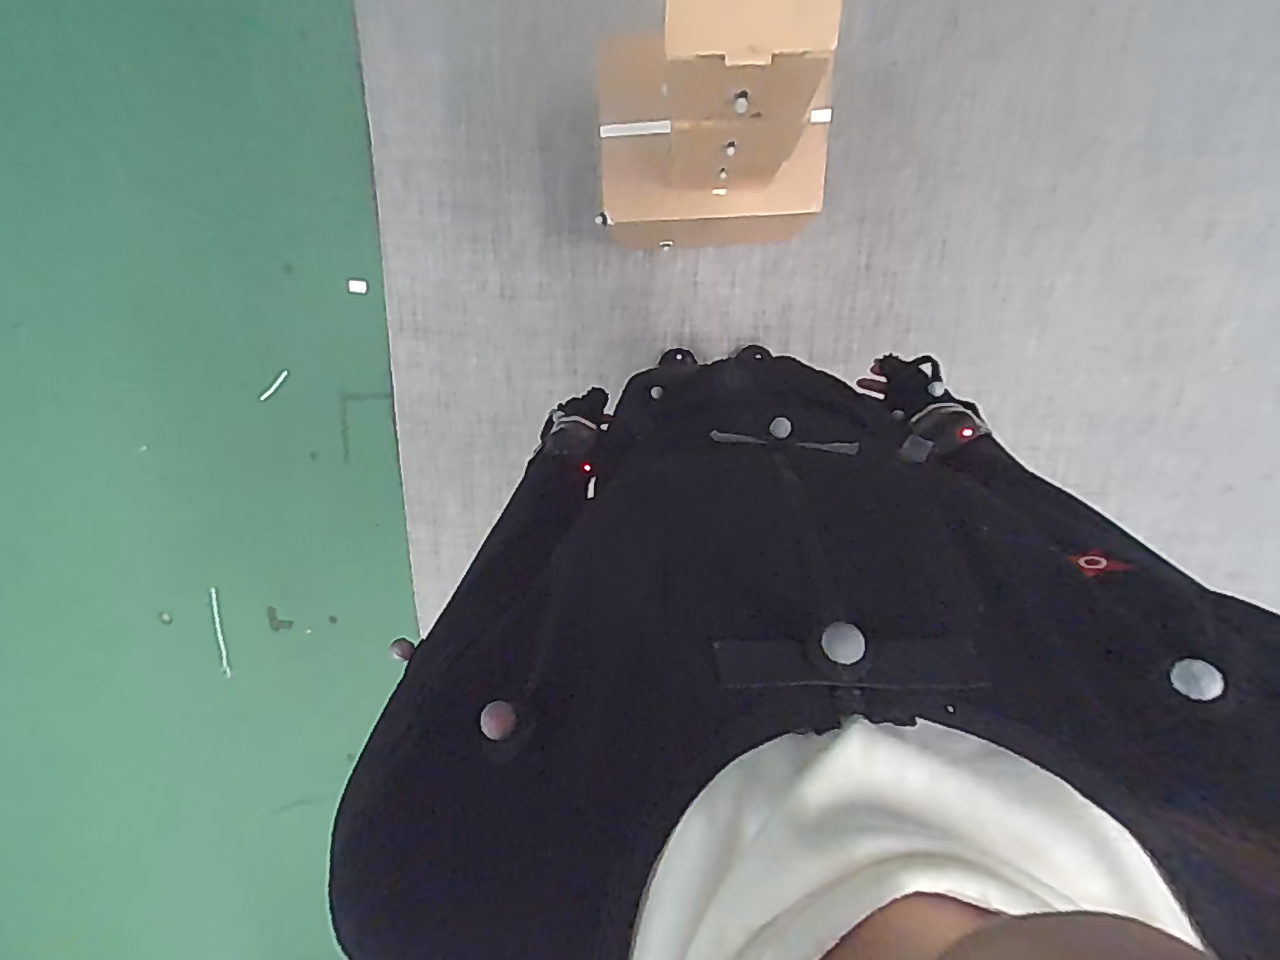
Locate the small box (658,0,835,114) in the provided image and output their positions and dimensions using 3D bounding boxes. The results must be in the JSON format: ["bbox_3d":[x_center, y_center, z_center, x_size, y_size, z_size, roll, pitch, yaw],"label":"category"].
[{"bbox_3d":[0.113,-0.512,0.573,0.168,0.176,0.179,4,107,6],"label":"small box"}]

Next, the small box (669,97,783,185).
[{"bbox_3d":[0.140,-0.596,0.888,0.179,0.176,0.168,1,106,4],"label":"small box"}]

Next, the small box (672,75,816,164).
[{"bbox_3d":[0.131,-0.546,0.732,0.179,0.176,0.168,-2,106,6],"label":"small box"}]
